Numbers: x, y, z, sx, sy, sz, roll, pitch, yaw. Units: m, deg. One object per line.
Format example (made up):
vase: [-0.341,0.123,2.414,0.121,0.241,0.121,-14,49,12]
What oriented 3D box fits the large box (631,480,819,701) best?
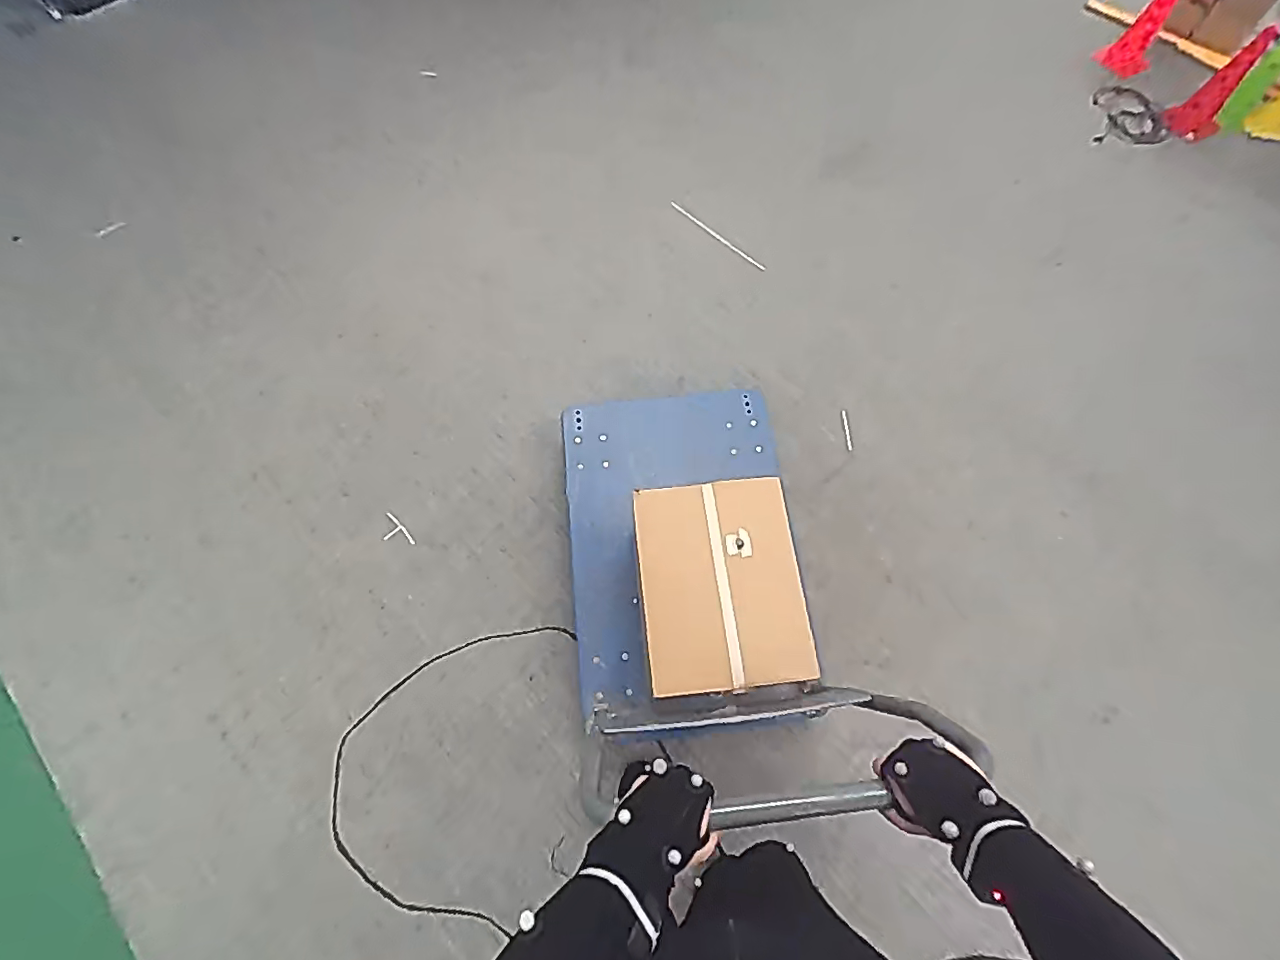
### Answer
large box: [0.158,0.256,1.202,0.320,0.320,0.408,-6,68,-4]
